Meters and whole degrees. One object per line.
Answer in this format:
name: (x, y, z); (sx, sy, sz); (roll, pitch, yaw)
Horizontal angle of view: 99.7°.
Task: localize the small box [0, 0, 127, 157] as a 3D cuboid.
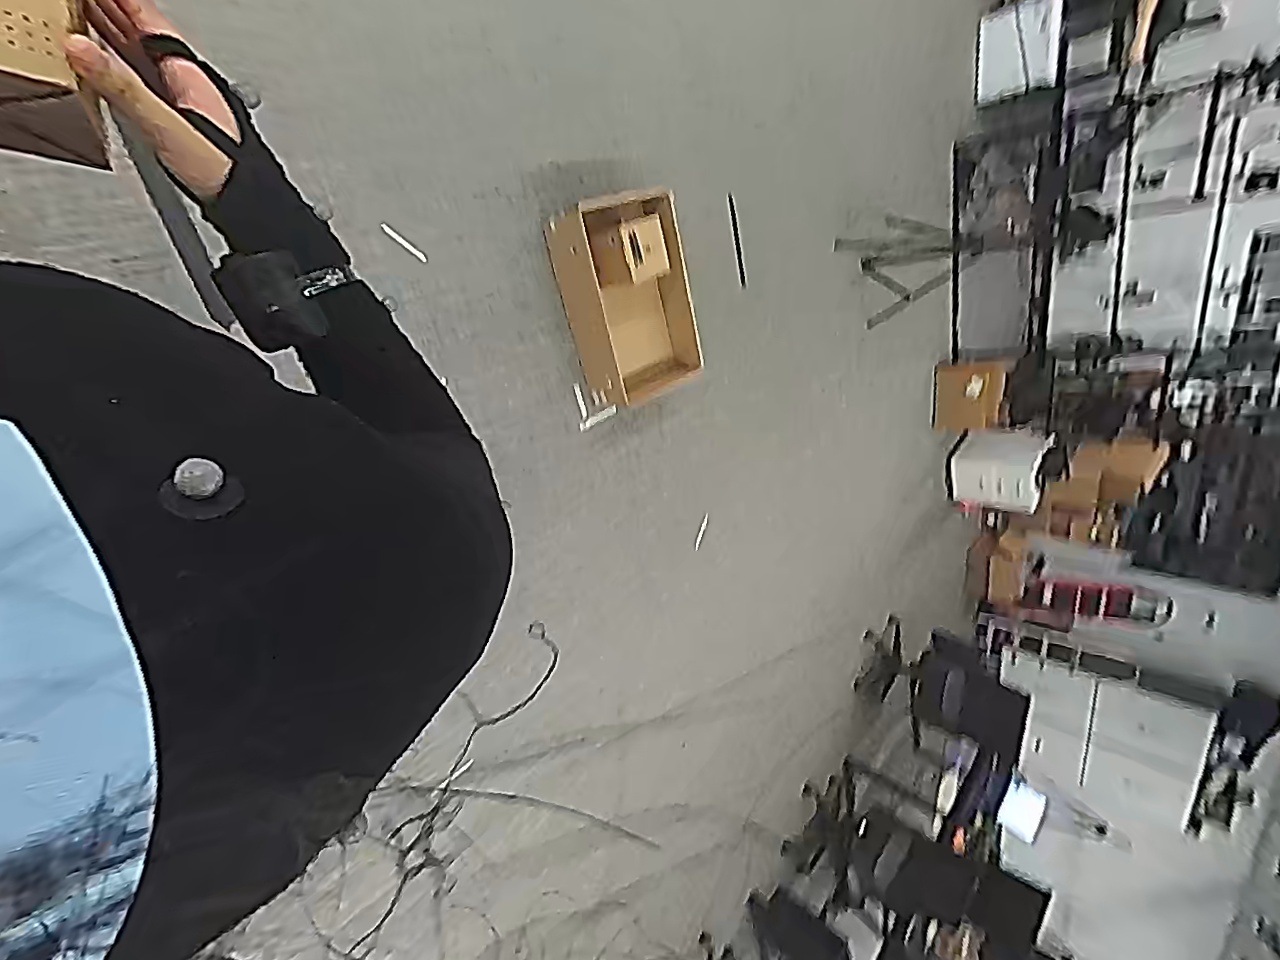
small box: (-0.394, -0.297, 0.285); (0.168, 0.179, 0.176); (-3, 104, -39)
